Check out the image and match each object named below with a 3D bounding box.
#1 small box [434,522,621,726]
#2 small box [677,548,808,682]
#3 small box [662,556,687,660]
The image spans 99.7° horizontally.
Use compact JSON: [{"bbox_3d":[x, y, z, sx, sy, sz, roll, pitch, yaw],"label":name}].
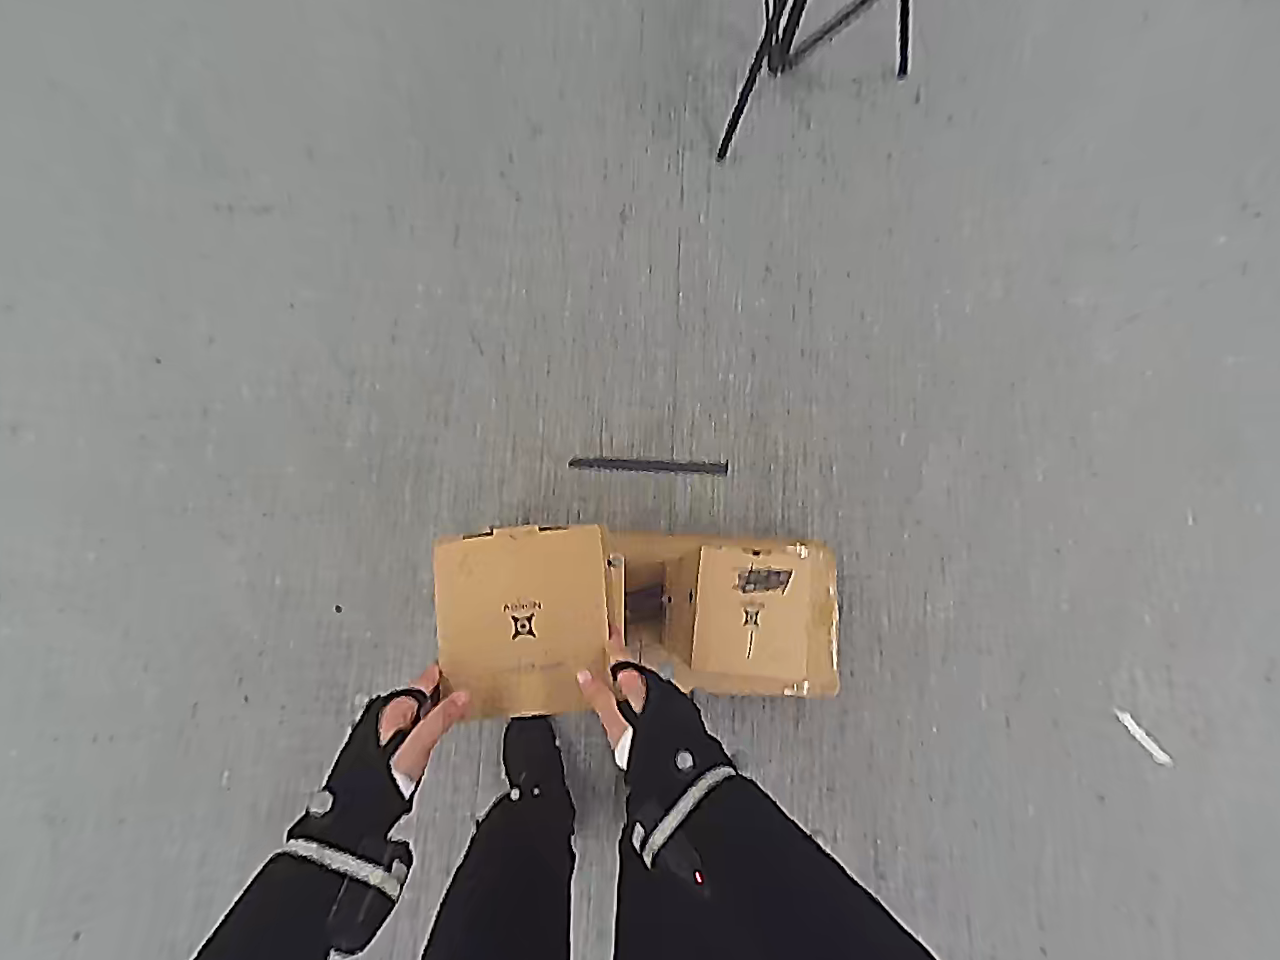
[{"bbox_3d":[-0.109,0.141,0.586,0.168,0.176,0.179,-6,86,-2],"label":"small box"},{"bbox_3d":[0.153,0.207,0.852,0.168,0.176,0.179,6,79,-2],"label":"small box"},{"bbox_3d":[0.133,0.239,1.012,0.168,0.176,0.179,3,79,-3],"label":"small box"}]
